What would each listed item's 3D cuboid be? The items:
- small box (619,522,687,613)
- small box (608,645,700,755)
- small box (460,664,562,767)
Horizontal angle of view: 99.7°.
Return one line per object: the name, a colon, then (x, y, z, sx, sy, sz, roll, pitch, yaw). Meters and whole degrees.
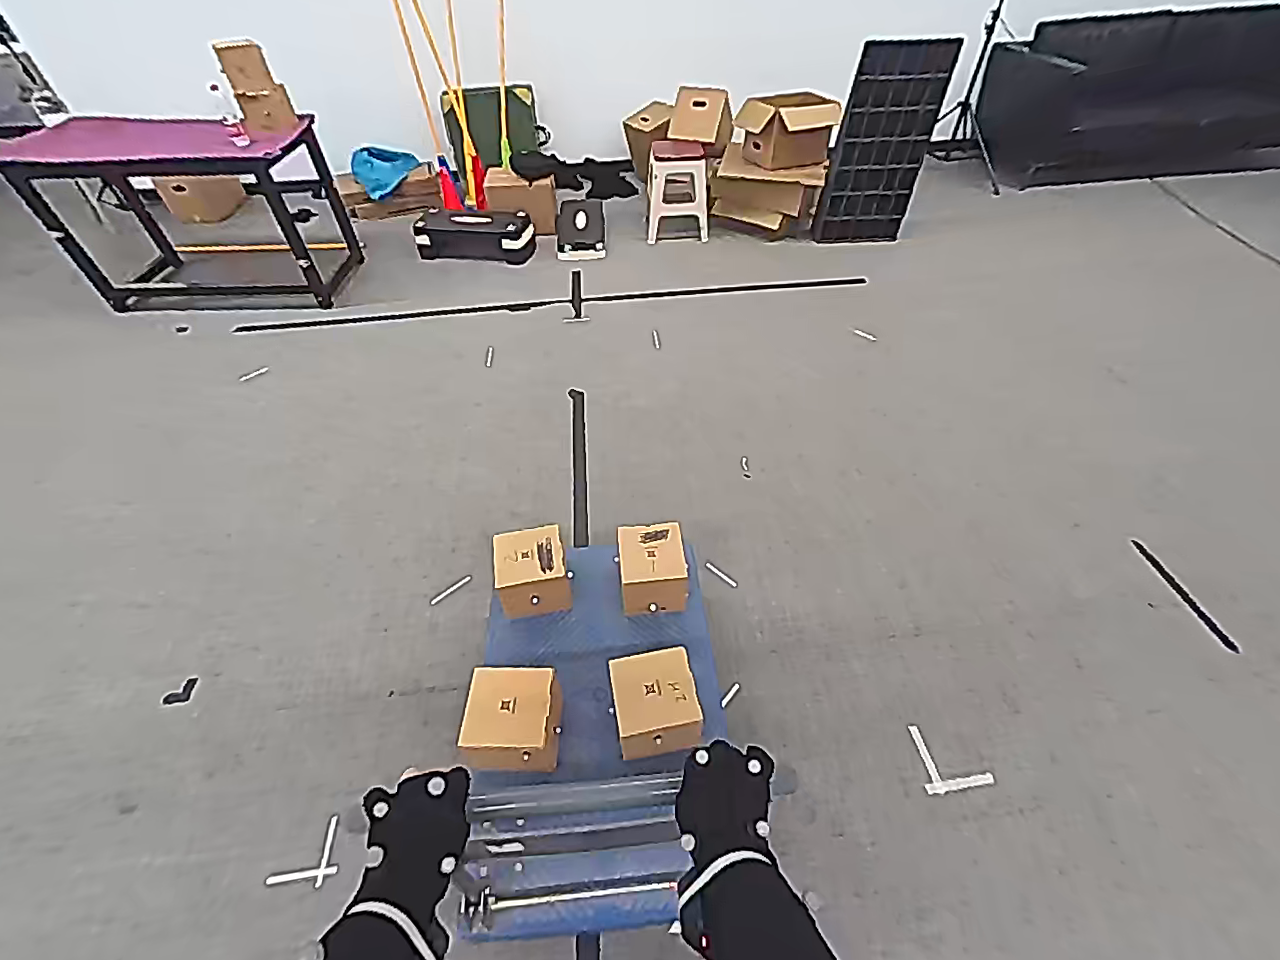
small box: (0.030, 0.235, 1.450, 0.168, 0.176, 0.179, -5, 48, -3)
small box: (0.030, 0.496, 1.211, 0.179, 0.176, 0.168, -9, 48, -6)
small box: (-0.275, 0.522, 1.195, 0.179, 0.176, 0.168, 1, 47, 0)
